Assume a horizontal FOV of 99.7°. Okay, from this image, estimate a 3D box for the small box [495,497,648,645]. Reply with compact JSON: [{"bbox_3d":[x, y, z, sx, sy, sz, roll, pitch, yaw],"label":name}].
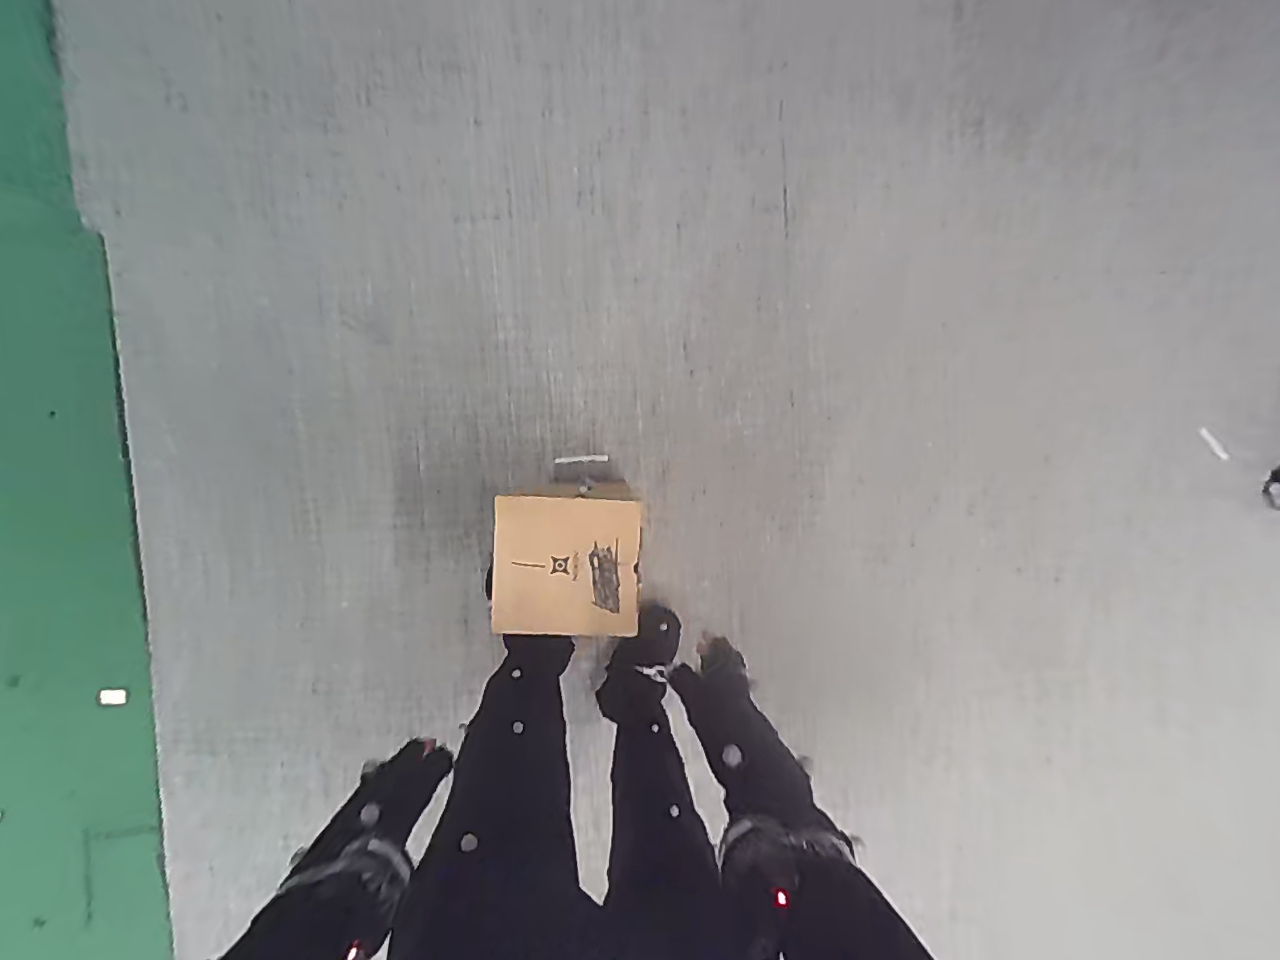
[{"bbox_3d":[-0.086,0.111,0.725,0.179,0.176,0.168,3,91,-3],"label":"small box"}]
